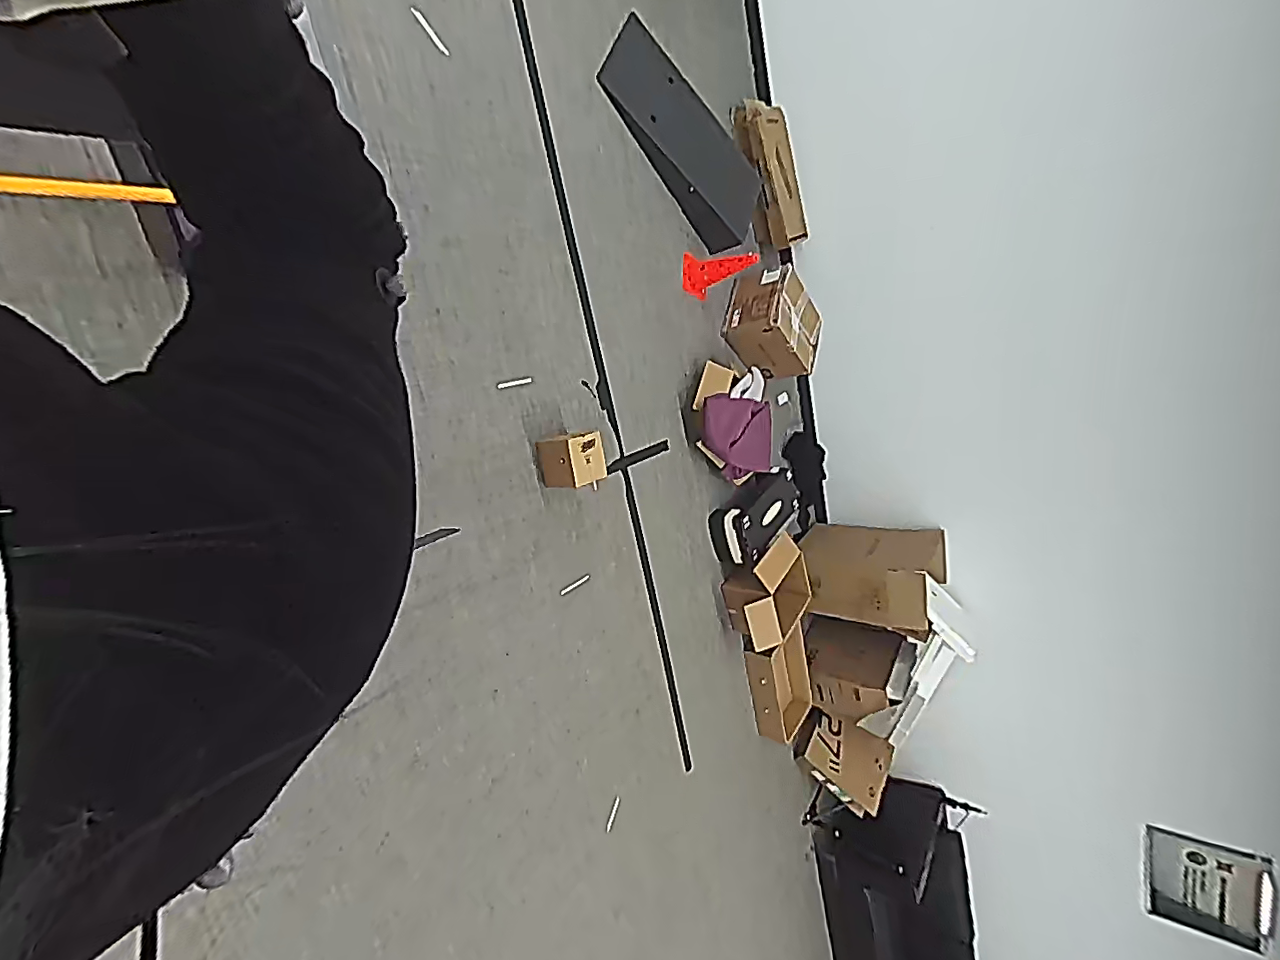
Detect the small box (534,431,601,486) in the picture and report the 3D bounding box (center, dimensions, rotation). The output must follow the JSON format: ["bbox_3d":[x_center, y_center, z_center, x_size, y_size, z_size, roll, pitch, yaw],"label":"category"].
[{"bbox_3d":[-0.270,-0.078,1.983,0.168,0.176,0.179,-22,108,-48],"label":"small box"}]
